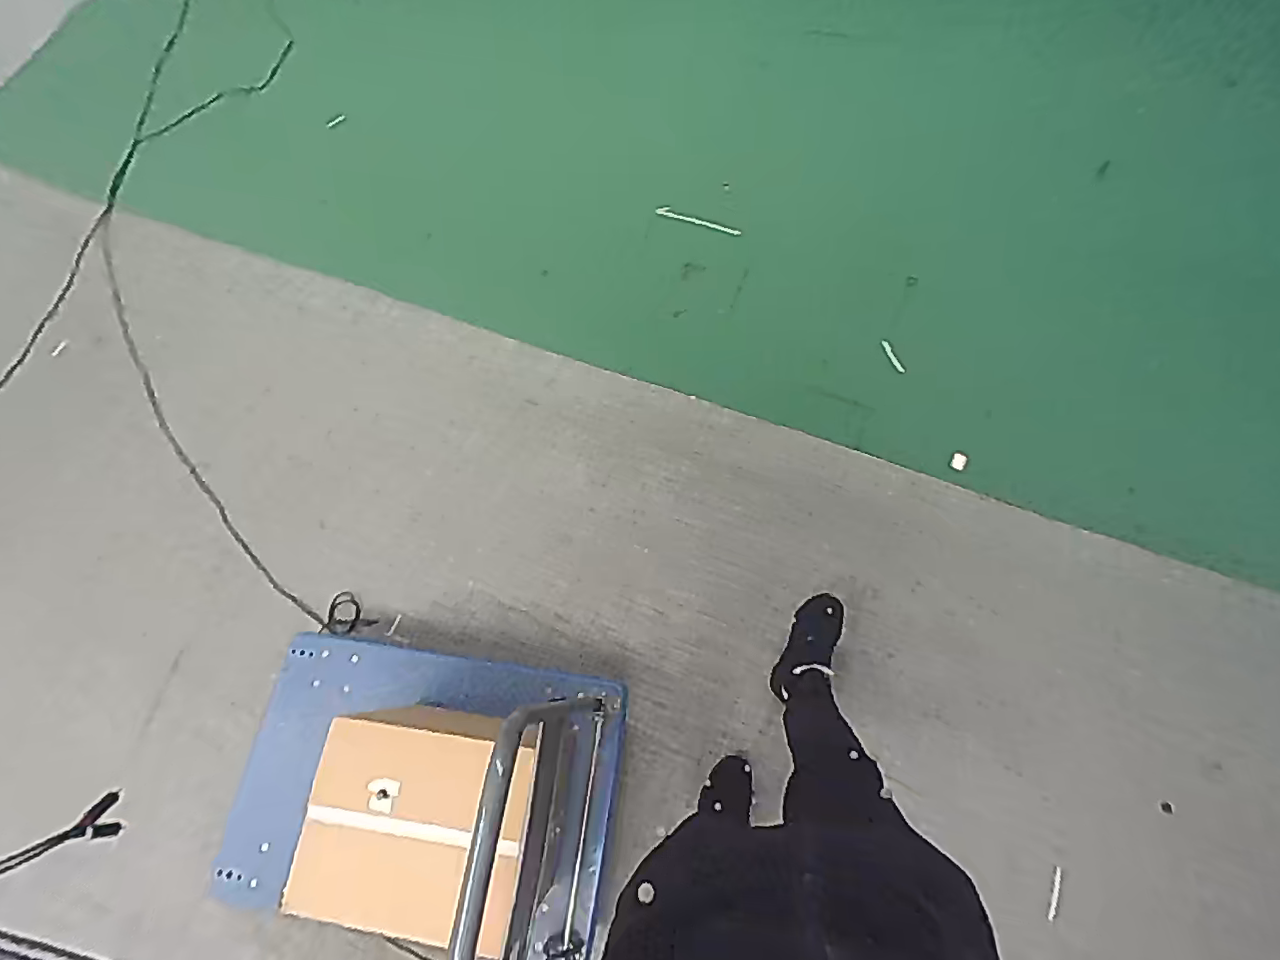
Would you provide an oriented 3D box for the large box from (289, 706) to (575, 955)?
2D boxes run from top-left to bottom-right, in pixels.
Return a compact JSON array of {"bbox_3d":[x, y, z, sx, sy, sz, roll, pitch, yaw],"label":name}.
[{"bbox_3d":[-0.371,0.653,1.079,0.408,0.320,0.320,5,71,8],"label":"large box"}]
